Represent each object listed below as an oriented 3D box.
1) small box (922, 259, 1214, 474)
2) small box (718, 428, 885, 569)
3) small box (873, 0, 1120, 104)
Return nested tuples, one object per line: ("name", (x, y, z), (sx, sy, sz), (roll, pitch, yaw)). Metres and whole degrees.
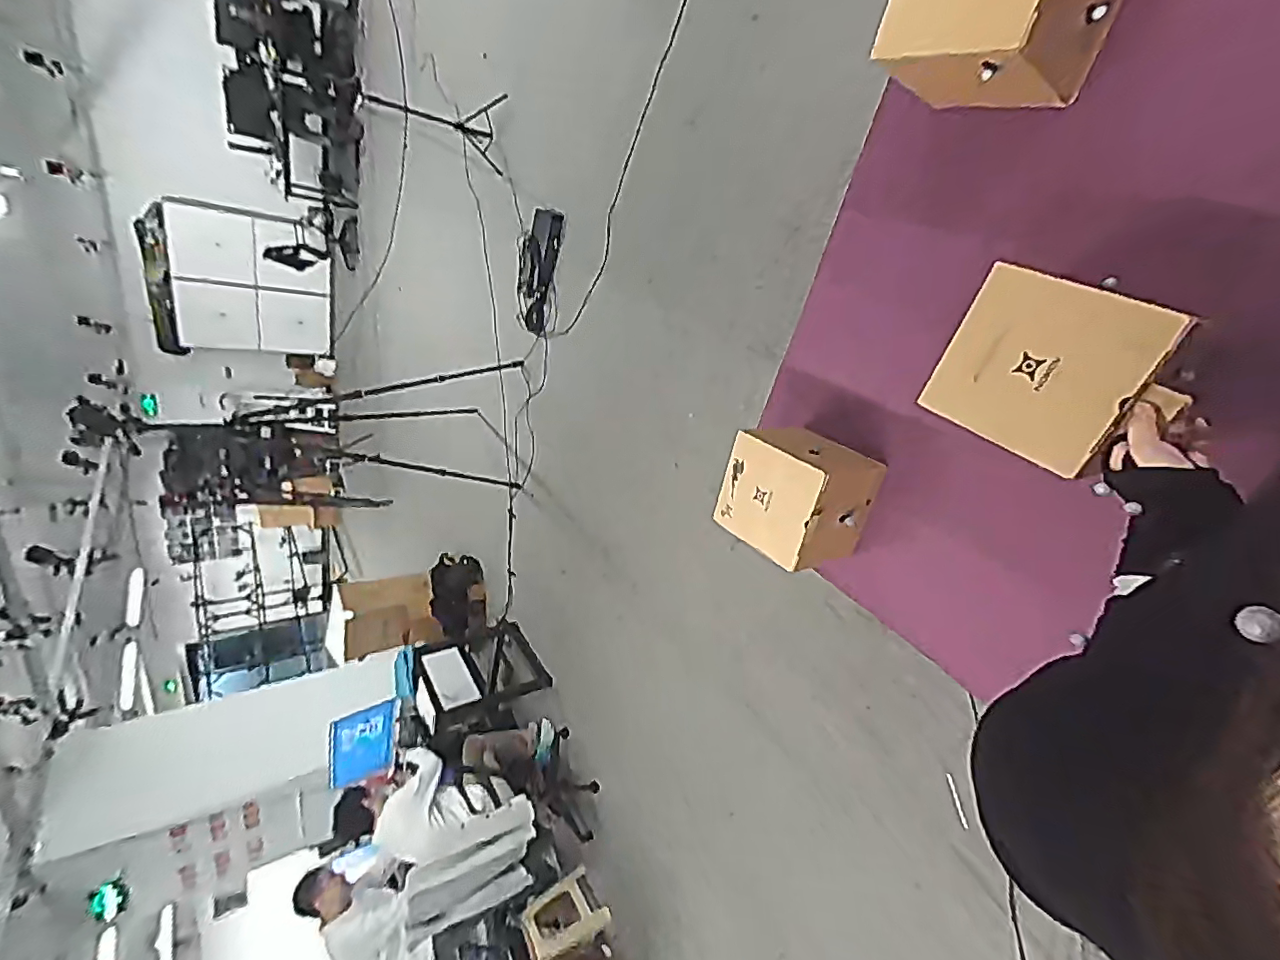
("small box", (0.465, -0.125, 0.596), (0.179, 0.176, 0.168), (45, 127, 41))
("small box", (0.262, 0.018, 0.880), (0.179, 0.176, 0.168), (35, 121, 44))
("small box", (0.410, -0.546, 0.610), (0.179, 0.176, 0.168), (38, 124, 42))
